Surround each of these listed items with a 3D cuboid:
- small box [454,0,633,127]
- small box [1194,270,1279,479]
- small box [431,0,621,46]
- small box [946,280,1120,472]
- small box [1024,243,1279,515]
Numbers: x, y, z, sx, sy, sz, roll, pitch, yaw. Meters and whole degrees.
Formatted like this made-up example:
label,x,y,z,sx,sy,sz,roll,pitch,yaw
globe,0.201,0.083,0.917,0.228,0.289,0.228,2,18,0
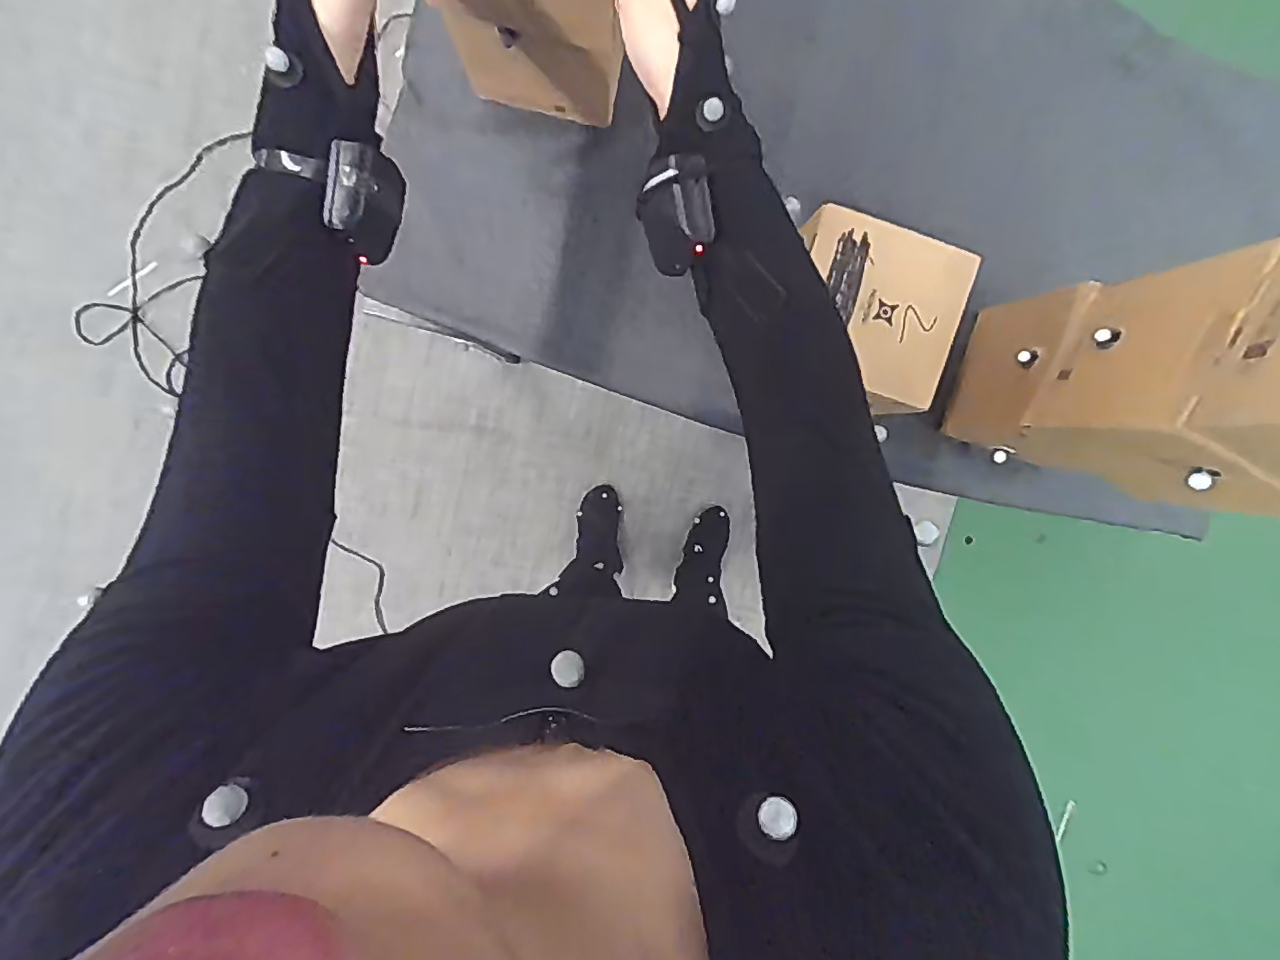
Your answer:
label,x,y,z,sx,sy,sz,roll,pitch,yaw
small box,-0.095,-0.521,0.569,0.168,0.176,0.179,11,97,-5
small box,0.530,-0.066,0.332,0.179,0.176,0.168,28,93,-5
small box,-0.087,-0.476,0.405,0.179,0.176,0.168,11,97,-4
small box,0.512,-0.115,0.656,0.168,0.176,0.179,16,96,-4
small box,0.517,-0.083,0.496,0.179,0.176,0.168,27,94,-5
